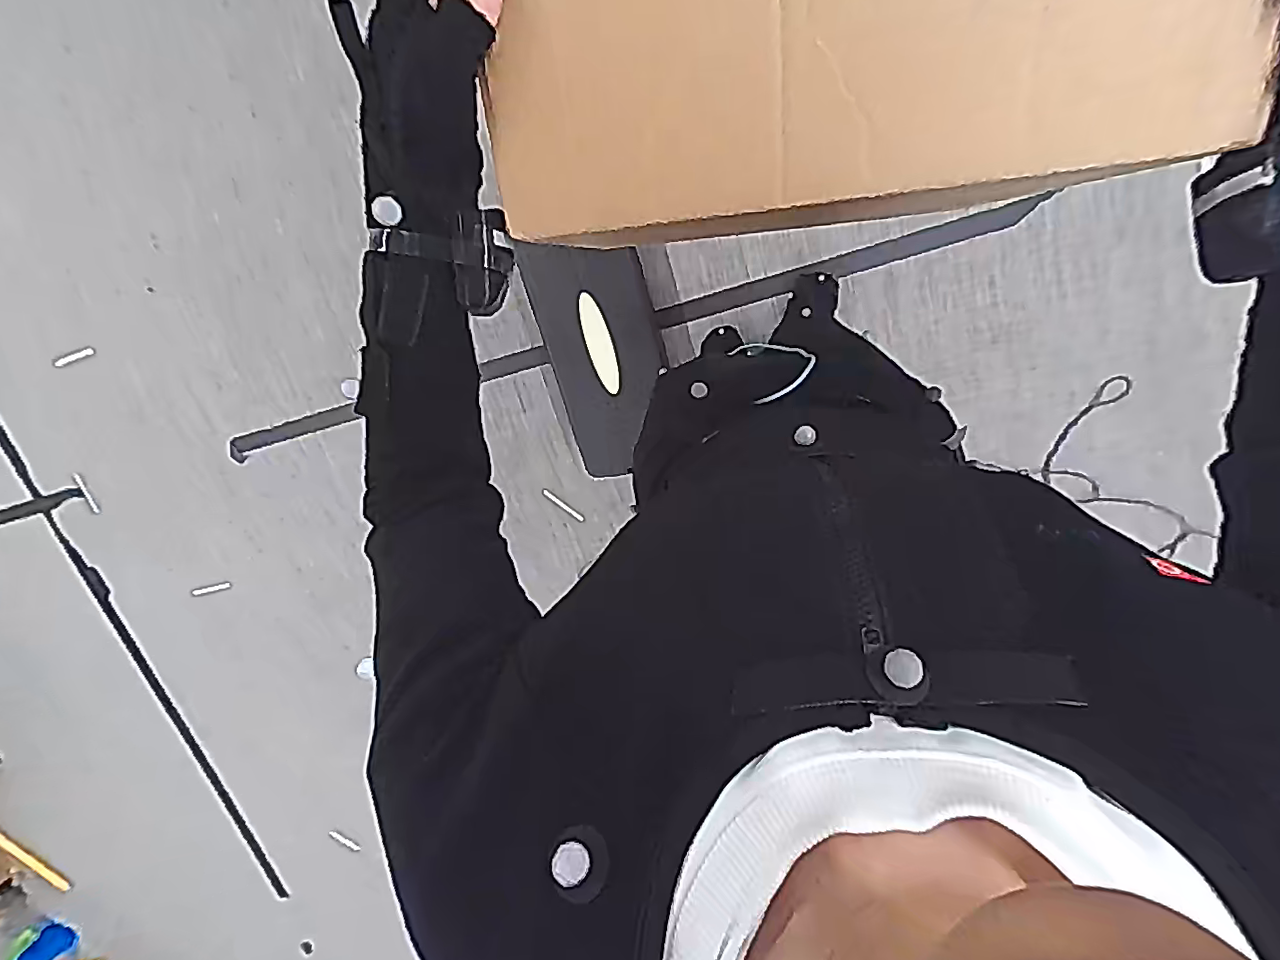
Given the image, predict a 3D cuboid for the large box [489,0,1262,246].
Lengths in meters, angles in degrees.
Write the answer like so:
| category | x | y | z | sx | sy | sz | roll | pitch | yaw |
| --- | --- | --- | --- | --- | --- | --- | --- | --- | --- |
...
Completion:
| category | x | y | z | sx | sy | sz | roll | pitch | yaw |
| --- | --- | --- | --- | --- | --- | --- | --- | --- | --- |
| large box | 0.119 | -0.371 | 0.403 | 0.408 | 0.320 | 0.320 | -4 | 112 | 7 |
